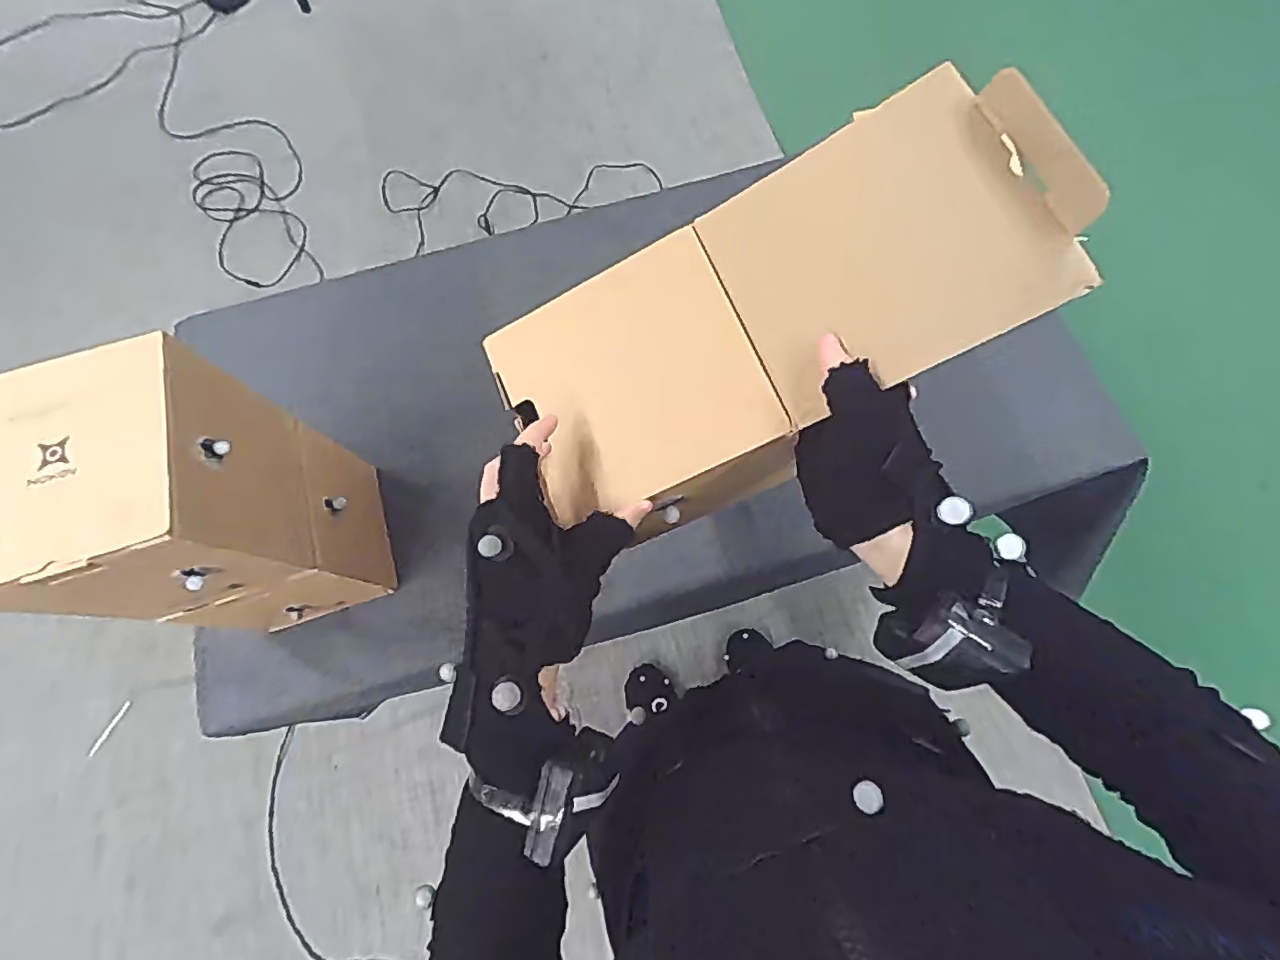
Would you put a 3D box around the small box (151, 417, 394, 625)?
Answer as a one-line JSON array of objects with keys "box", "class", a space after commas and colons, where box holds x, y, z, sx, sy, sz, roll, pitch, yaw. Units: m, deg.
[{"box": [-0.412, 0.057, 0.625, 0.168, 0.176, 0.179, -18, 73, -3], "class": "small box"}]

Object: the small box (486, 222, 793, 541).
[{"box": [0.012, -0.056, 0.438, 0.179, 0.176, 0.168, -25, 76, 10], "class": "small box"}]

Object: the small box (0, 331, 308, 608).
[{"box": [-0.420, 0.007, 0.470, 0.168, 0.176, 0.179, -16, 72, -3], "class": "small box"}]
